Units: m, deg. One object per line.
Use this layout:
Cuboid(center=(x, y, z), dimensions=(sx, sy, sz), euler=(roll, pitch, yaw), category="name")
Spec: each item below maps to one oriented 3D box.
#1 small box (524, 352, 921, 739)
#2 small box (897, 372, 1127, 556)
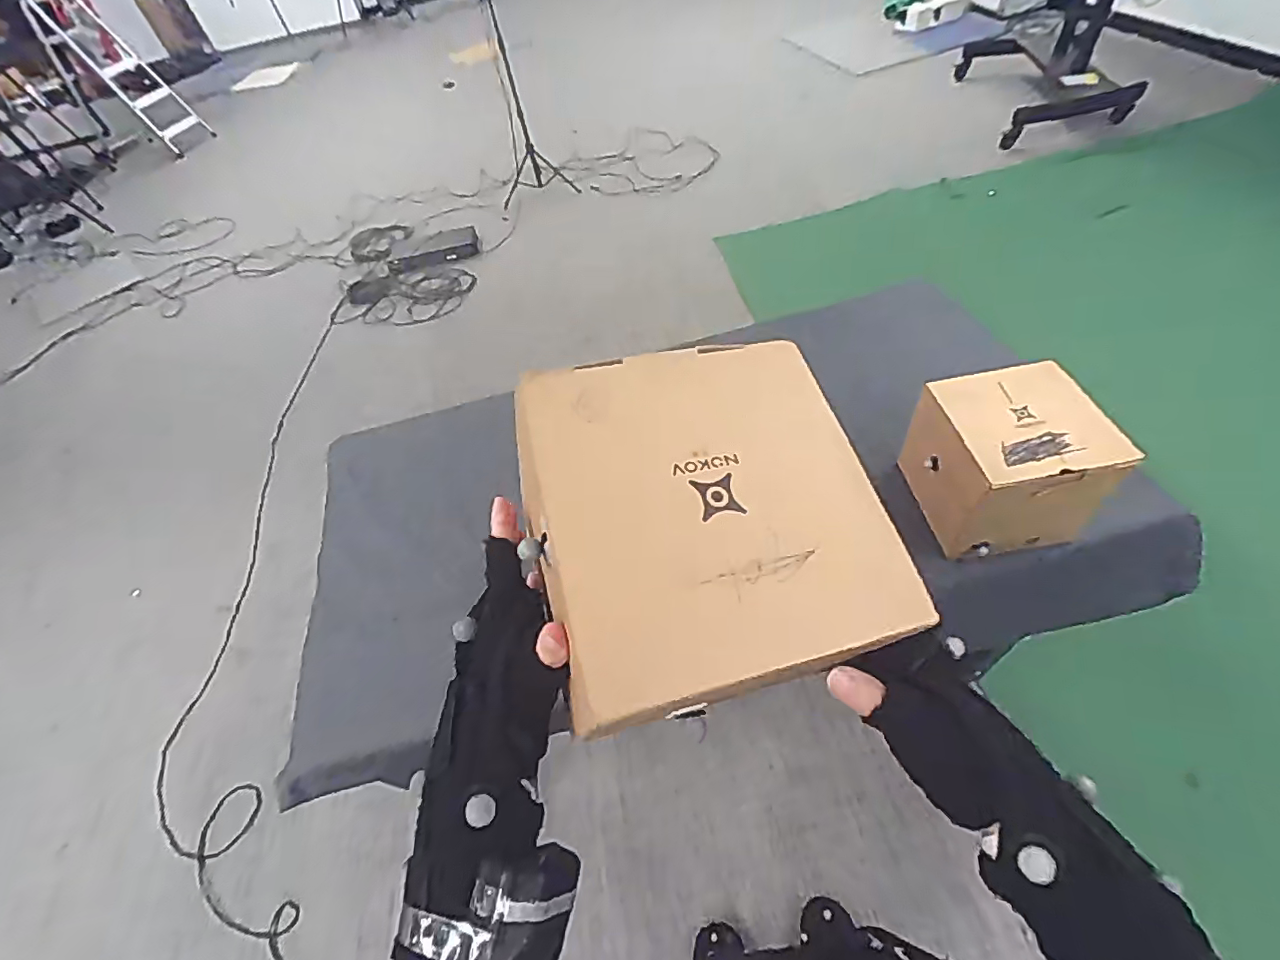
Cuboid(center=(0.024, 0.047, 0.344), dimensions=(0.168, 0.176, 0.179), euler=(-11, 65, -15), category="small box")
Cuboid(center=(0.468, -0.013, 0.718), dimensions=(0.168, 0.176, 0.179), euler=(-9, 50, 3), category="small box")
